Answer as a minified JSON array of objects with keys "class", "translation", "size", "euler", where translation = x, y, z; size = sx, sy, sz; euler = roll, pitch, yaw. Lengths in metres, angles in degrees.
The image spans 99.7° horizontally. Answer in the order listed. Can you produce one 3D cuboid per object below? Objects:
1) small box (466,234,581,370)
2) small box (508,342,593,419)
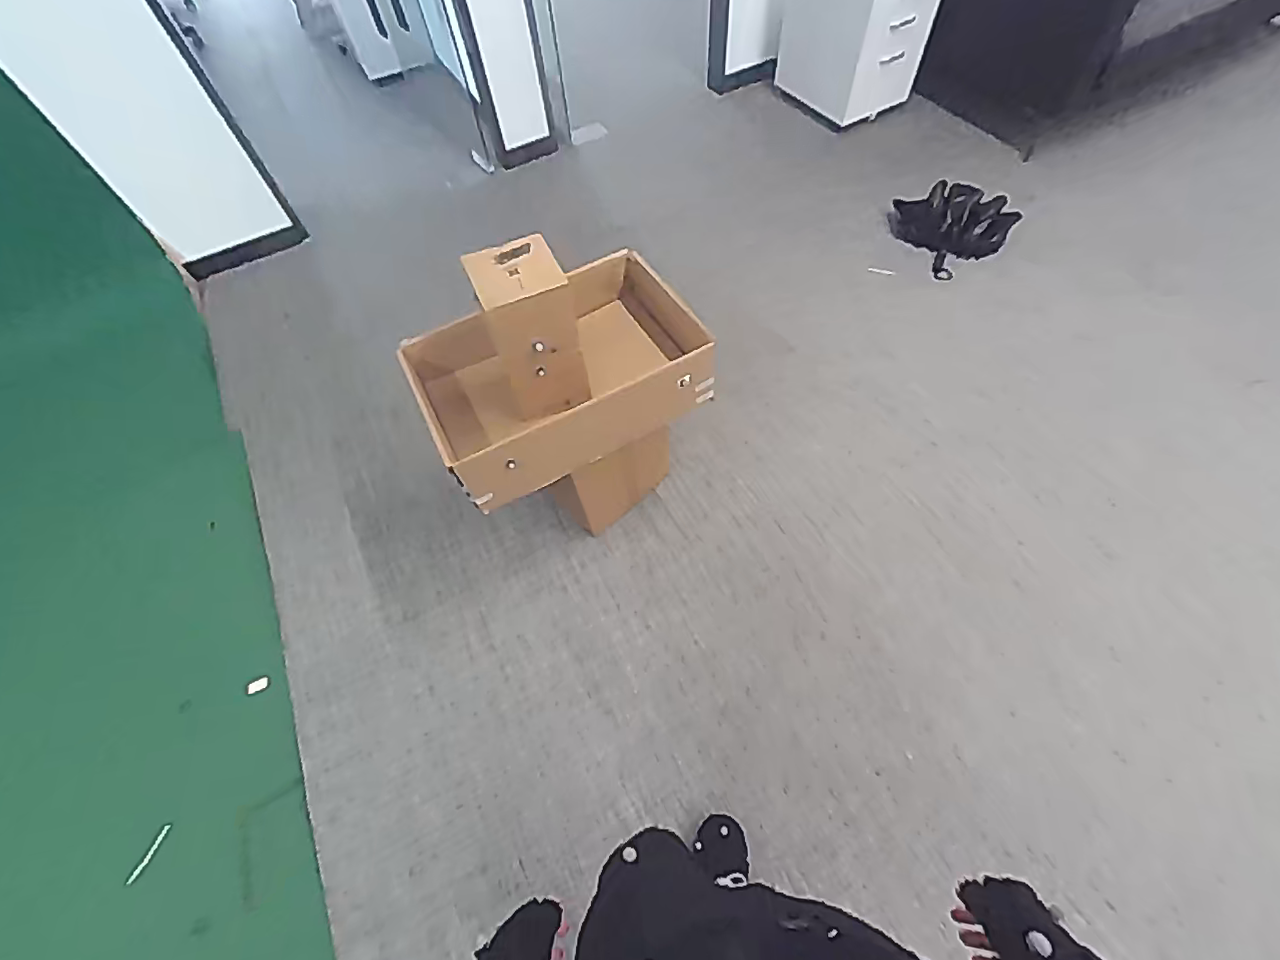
[{"class":"small box","translation":[-0.231,-0.356,1.095],"size":[0.168,0.176,0.179],"euler":[-22,60,-10]},{"class":"small box","translation":[-0.217,-0.272,1.236],"size":[0.168,0.176,0.179],"euler":[-20,59,-8]}]
